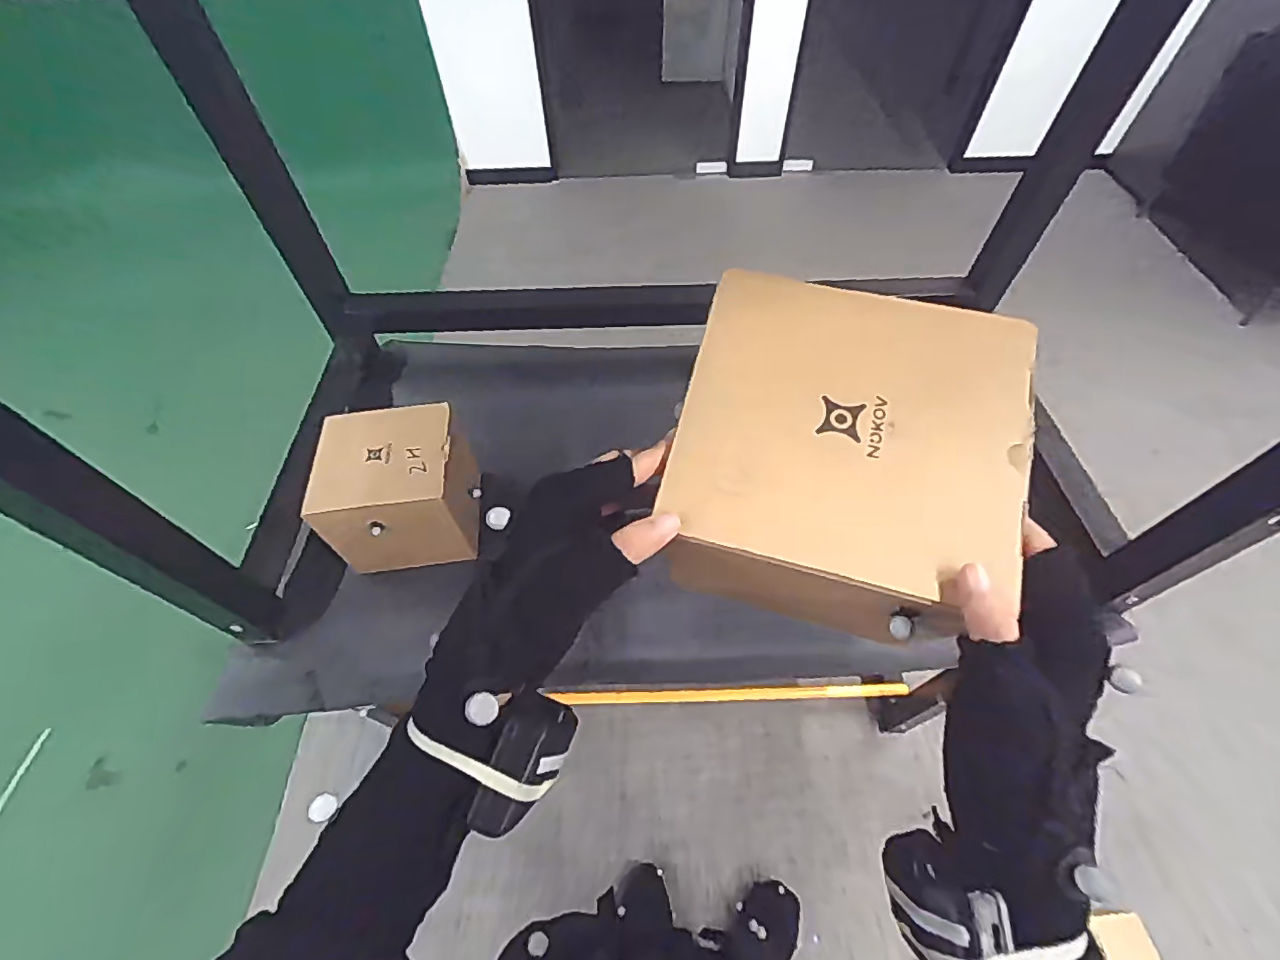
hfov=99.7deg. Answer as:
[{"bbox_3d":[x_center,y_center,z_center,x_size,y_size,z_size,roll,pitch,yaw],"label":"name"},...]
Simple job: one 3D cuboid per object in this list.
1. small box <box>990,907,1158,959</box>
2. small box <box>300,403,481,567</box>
[{"bbox_3d":[0.722,0.818,0.881,0.168,0.176,0.179,-4,54,-2],"label":"small box"},{"bbox_3d":[-0.340,0.013,0.776,0.179,0.176,0.168,-7,56,-4],"label":"small box"}]
